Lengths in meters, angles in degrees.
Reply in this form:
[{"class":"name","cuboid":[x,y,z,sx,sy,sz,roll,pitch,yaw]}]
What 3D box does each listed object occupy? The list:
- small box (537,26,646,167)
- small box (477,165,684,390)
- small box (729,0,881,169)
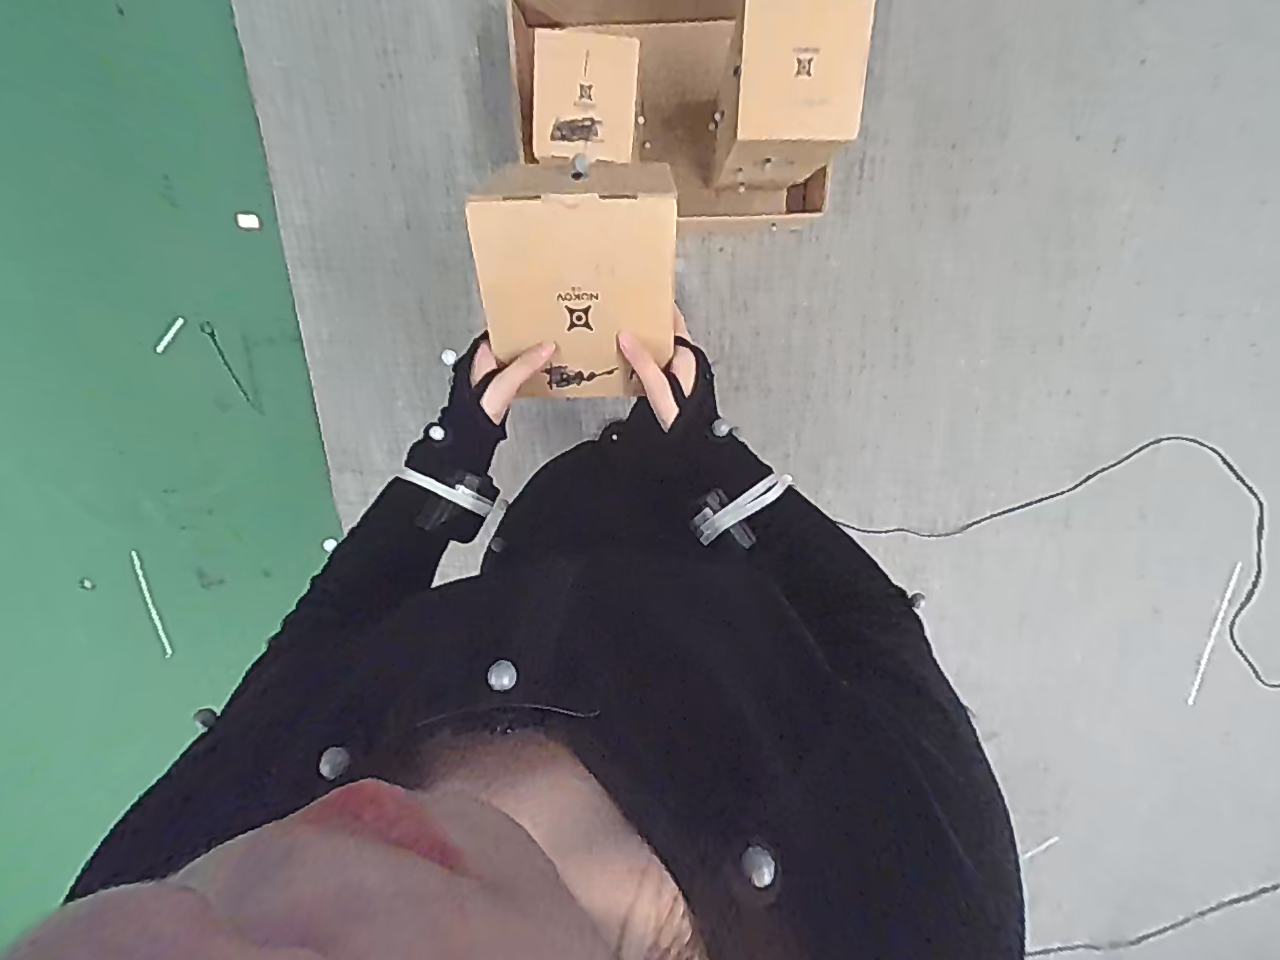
[{"class":"small box","cuboid":[-0.078,-0.639,0.939,0.168,0.176,0.179,5,109,-1]},{"class":"small box","cuboid":[-0.048,-0.204,0.534,0.168,0.176,0.179,0,127,0]},{"class":"small box","cuboid":[0.224,-0.570,0.783,0.168,0.176,0.179,3,110,2]}]
